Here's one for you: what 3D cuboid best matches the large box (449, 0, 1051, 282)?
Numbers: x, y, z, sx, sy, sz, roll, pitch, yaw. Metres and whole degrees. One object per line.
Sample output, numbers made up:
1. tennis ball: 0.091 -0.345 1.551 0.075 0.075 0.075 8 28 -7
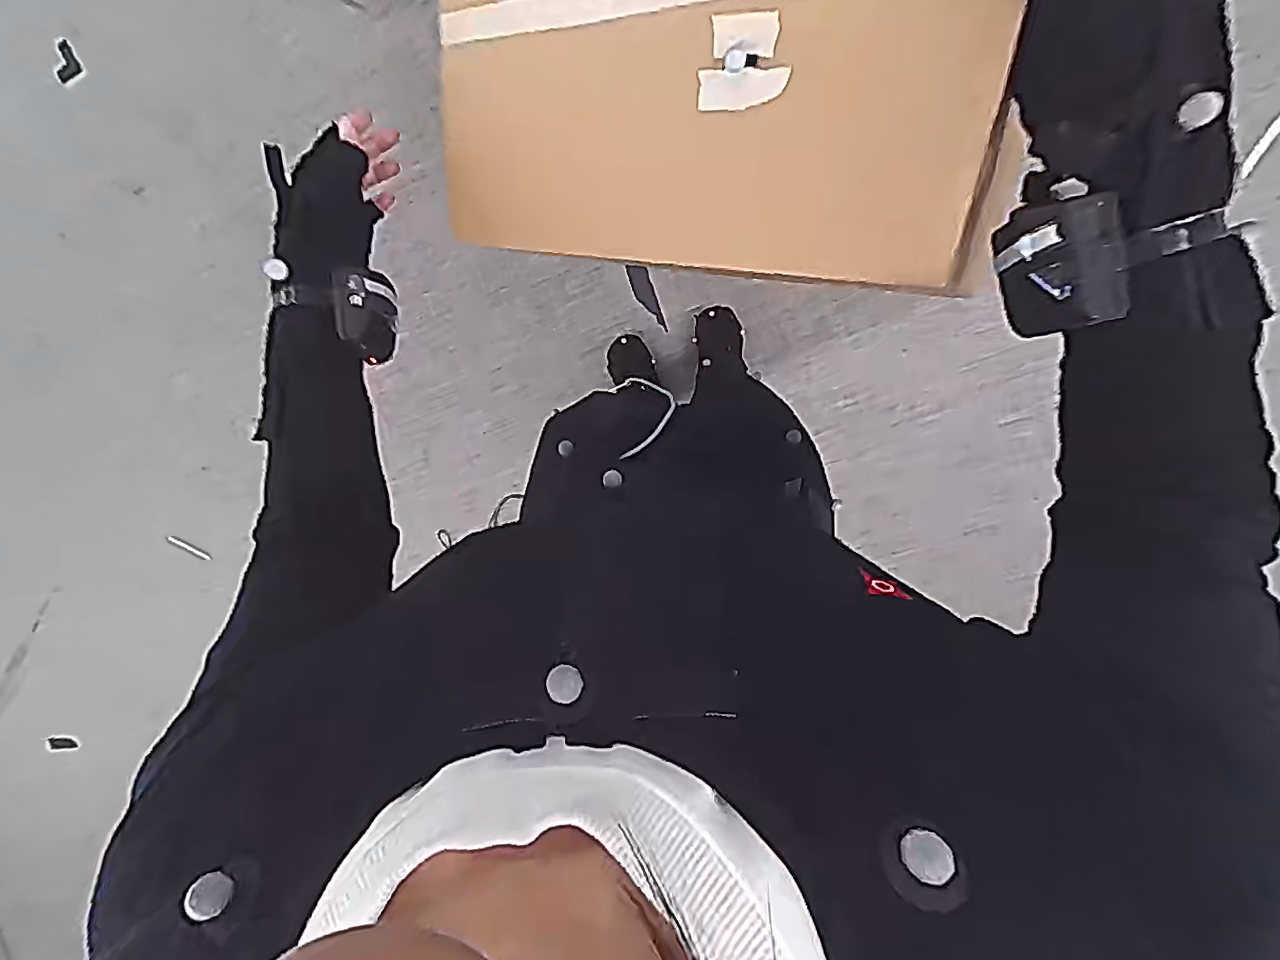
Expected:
1. large box: 0.096 -0.347 0.458 0.408 0.320 0.320 16 115 27
